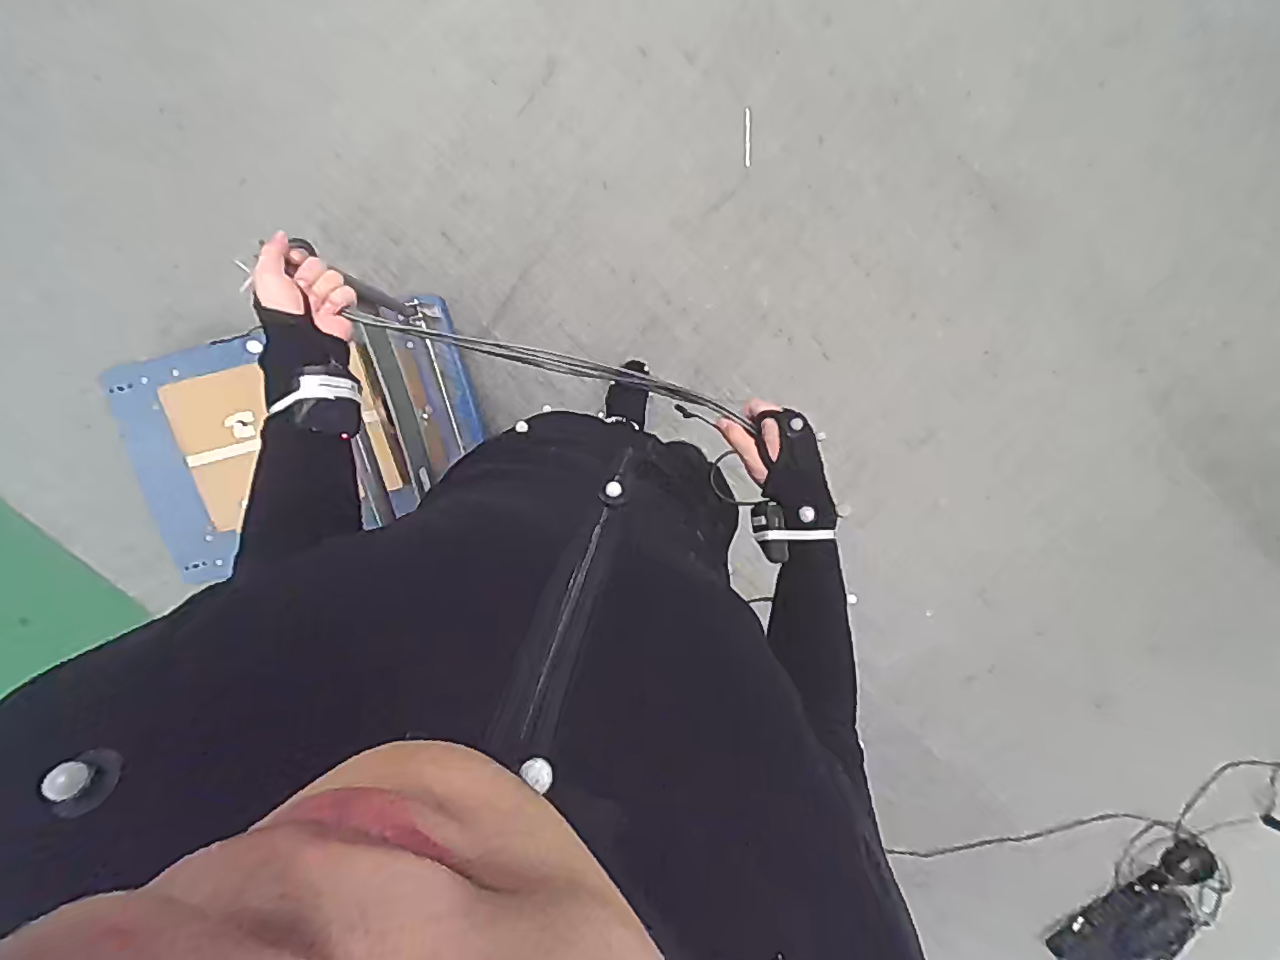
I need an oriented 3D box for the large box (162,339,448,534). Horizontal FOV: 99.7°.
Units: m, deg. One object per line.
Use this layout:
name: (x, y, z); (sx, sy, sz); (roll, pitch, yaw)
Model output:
large box: (-0.717, -0.112, 1.234); (0.408, 0.320, 0.320); (-14, 100, 1)
